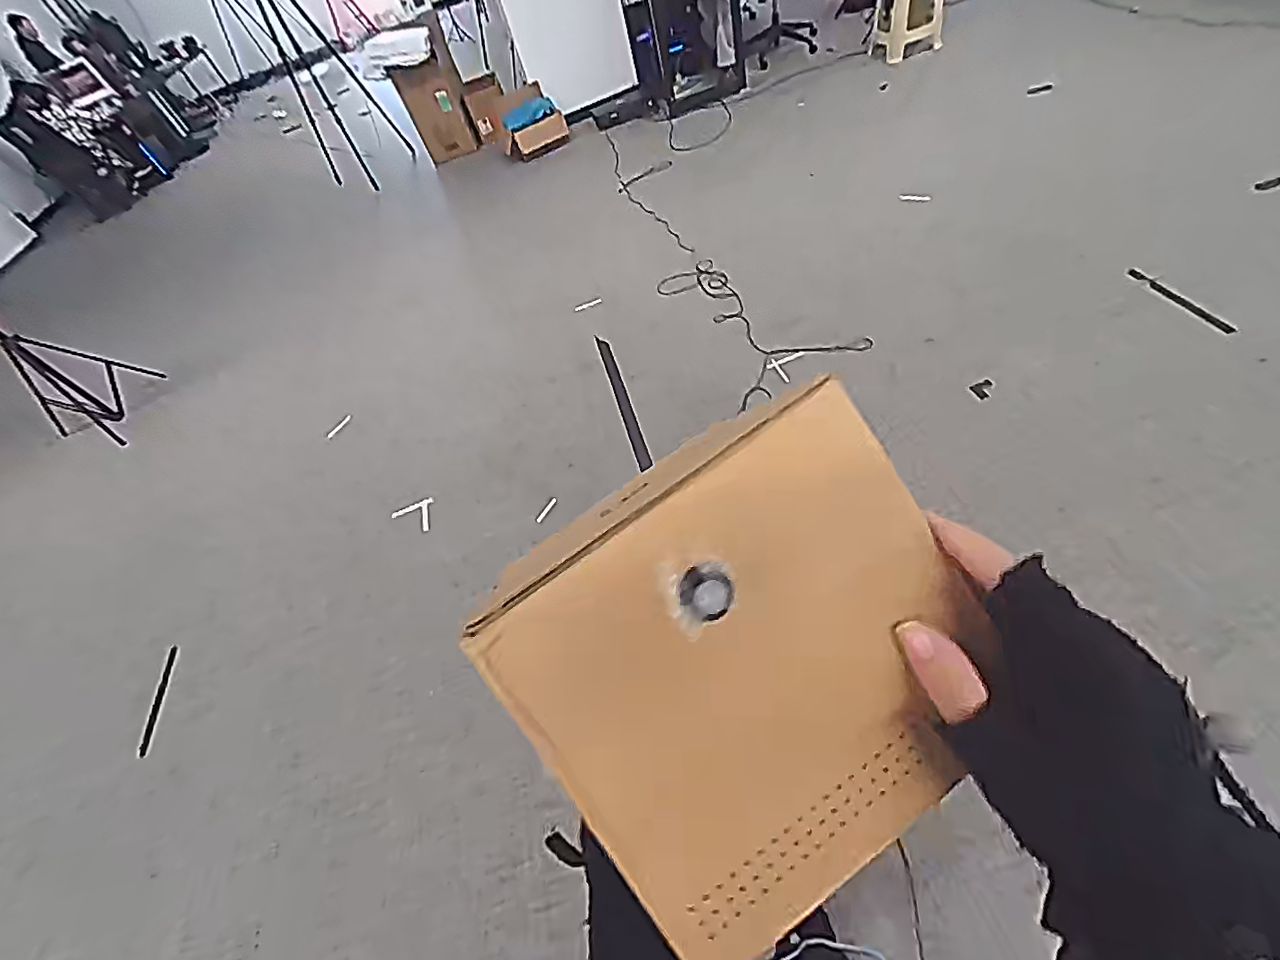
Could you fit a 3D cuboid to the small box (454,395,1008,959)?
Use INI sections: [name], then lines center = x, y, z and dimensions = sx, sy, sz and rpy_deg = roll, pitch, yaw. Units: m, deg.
[small box]
center = 0.039, 0.083, 0.289
dimensions = 0.179, 0.168, 0.176
rpy_deg = -34, 93, -5
